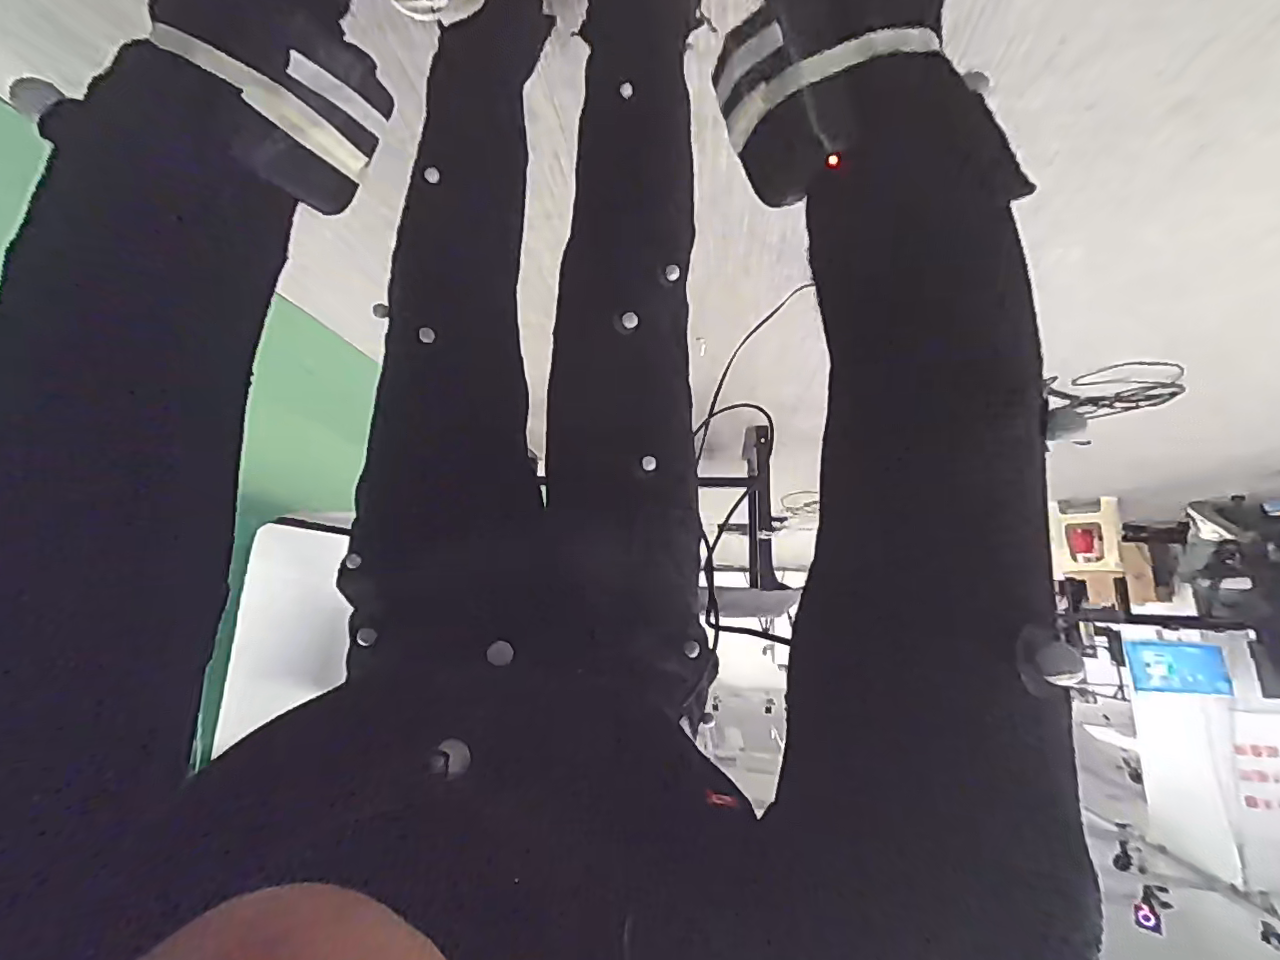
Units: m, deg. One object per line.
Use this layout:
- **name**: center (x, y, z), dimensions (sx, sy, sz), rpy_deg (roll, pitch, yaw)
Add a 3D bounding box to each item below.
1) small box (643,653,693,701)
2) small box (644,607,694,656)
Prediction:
- **small box**: center (0.114, 0.759, 2.125), dimensions (0.179, 0.176, 0.168), rpy_deg (0, 166, 13)
- **small box**: center (0.121, 0.597, 2.144), dimensions (0.168, 0.176, 0.179), rpy_deg (-2, 167, 17)
